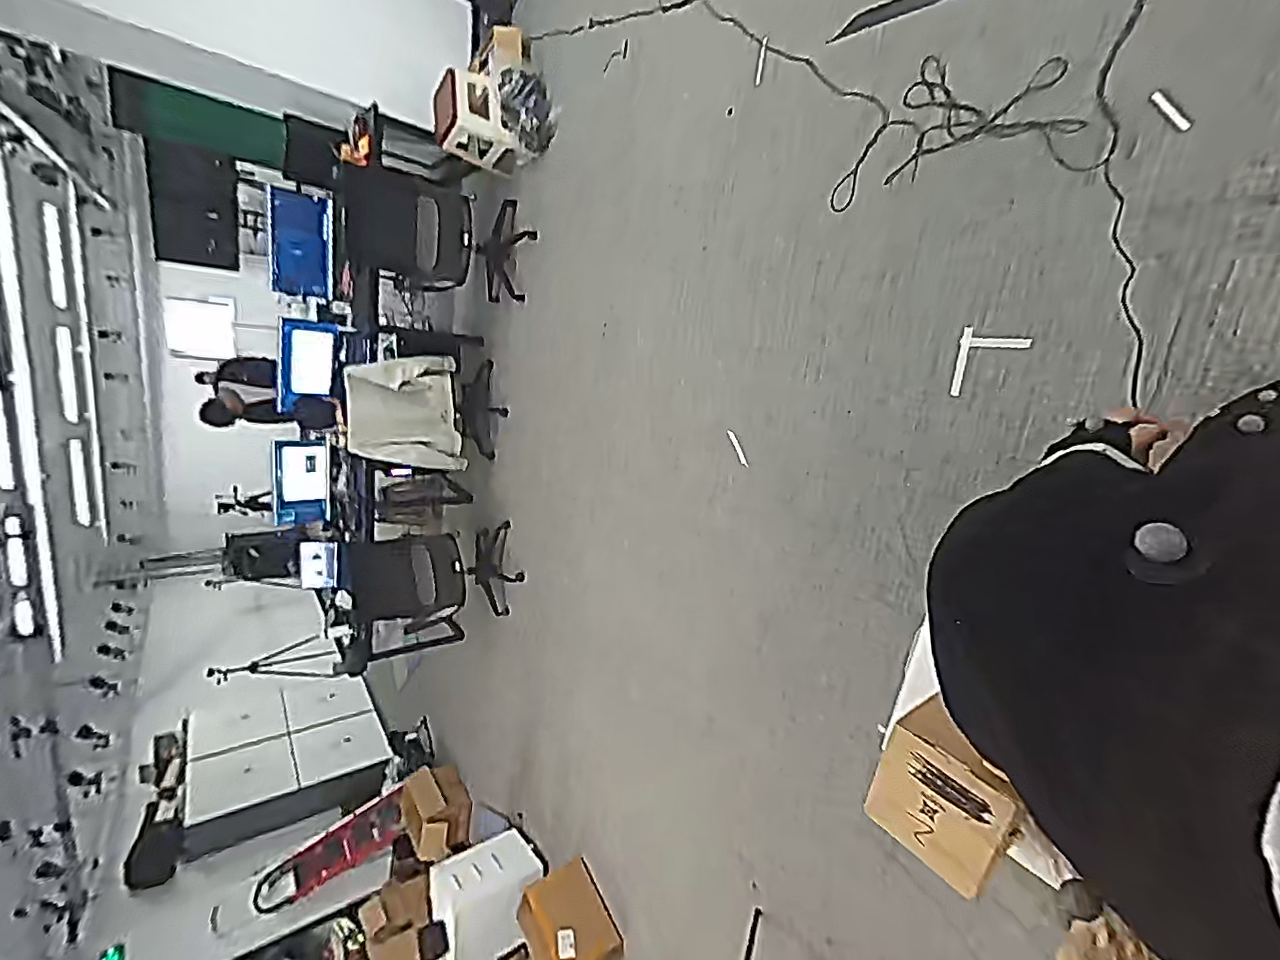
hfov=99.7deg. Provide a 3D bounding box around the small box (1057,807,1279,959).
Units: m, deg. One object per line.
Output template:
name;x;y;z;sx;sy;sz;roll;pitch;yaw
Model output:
small box;0.630;0.526;0.621;0.168;0.176;0.179;31;117;47
